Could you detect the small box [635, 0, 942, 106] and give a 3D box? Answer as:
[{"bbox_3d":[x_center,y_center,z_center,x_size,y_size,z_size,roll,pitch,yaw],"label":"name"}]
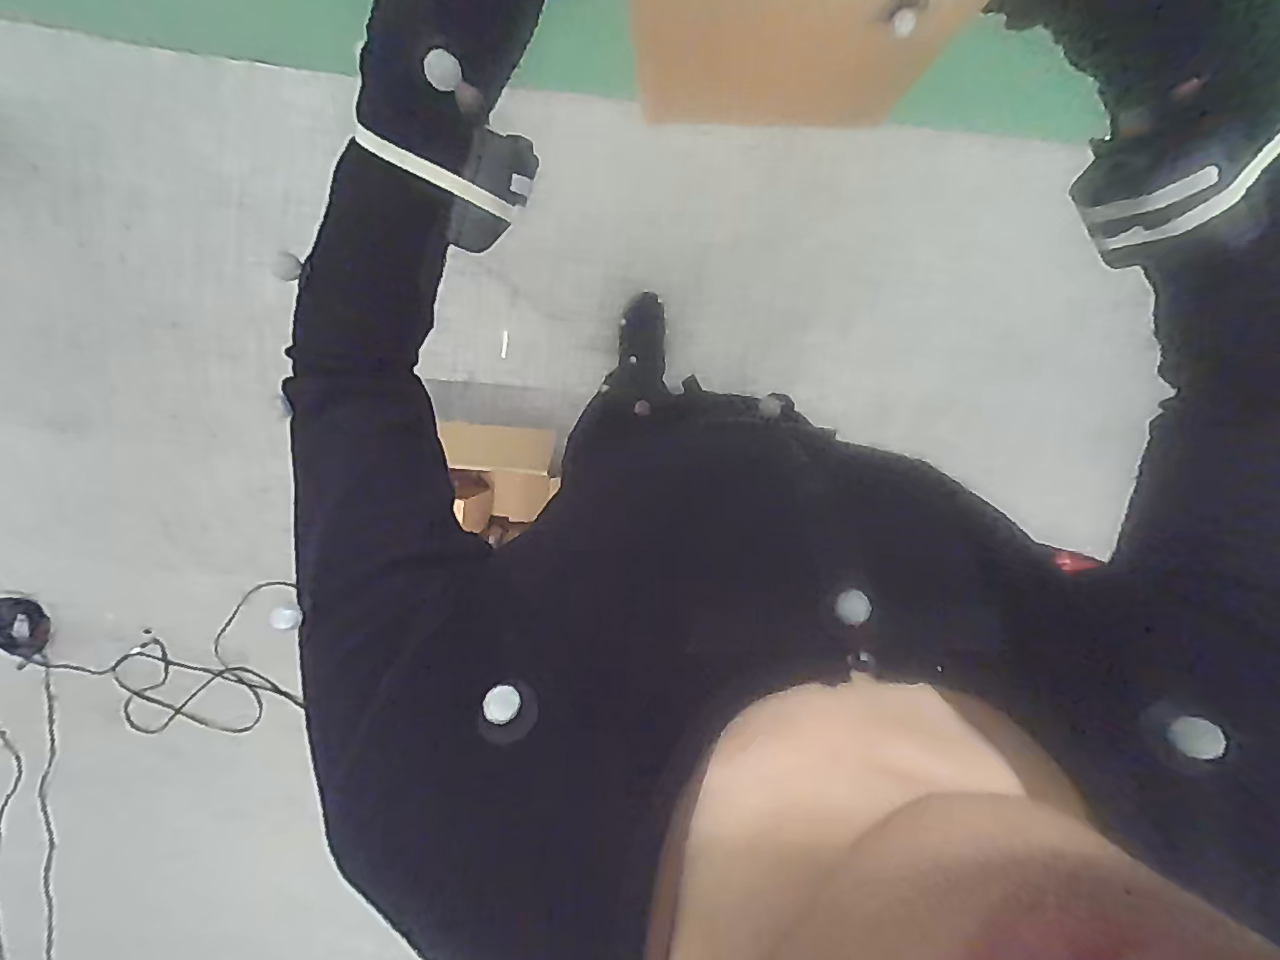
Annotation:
[{"bbox_3d":[0.085,-0.336,0.300,0.179,0.176,0.168,1,102,1],"label":"small box"}]
